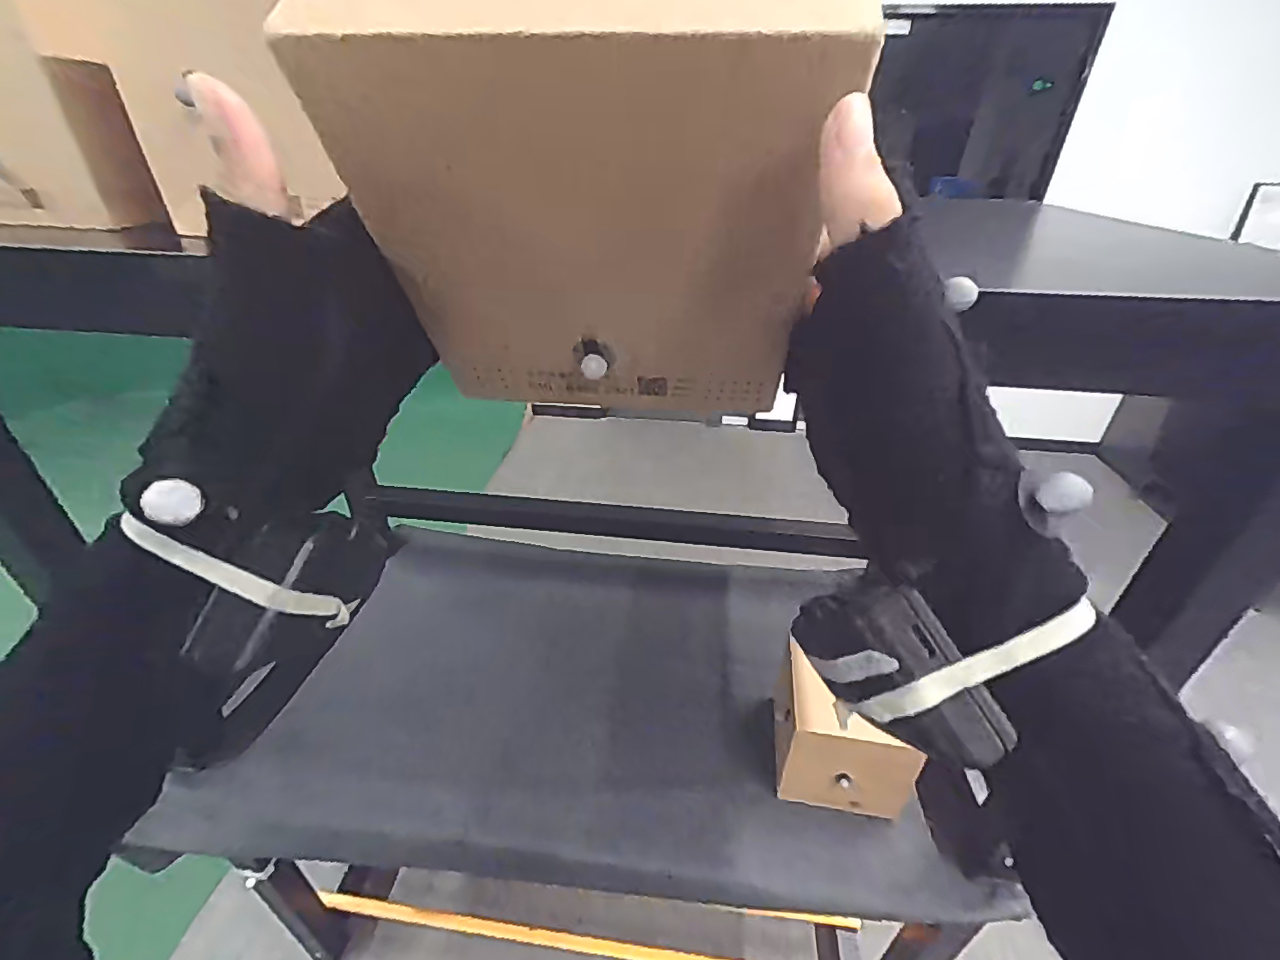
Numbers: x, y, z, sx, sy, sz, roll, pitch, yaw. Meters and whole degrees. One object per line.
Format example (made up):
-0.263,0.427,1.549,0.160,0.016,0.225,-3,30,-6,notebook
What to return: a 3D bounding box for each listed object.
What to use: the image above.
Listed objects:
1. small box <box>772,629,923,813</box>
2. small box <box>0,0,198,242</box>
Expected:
0.291,0.353,0.797,0.168,0.176,0.179,7,32,8,small box
-0.482,-0.315,0.470,0.168,0.176,0.179,5,33,6,small box
